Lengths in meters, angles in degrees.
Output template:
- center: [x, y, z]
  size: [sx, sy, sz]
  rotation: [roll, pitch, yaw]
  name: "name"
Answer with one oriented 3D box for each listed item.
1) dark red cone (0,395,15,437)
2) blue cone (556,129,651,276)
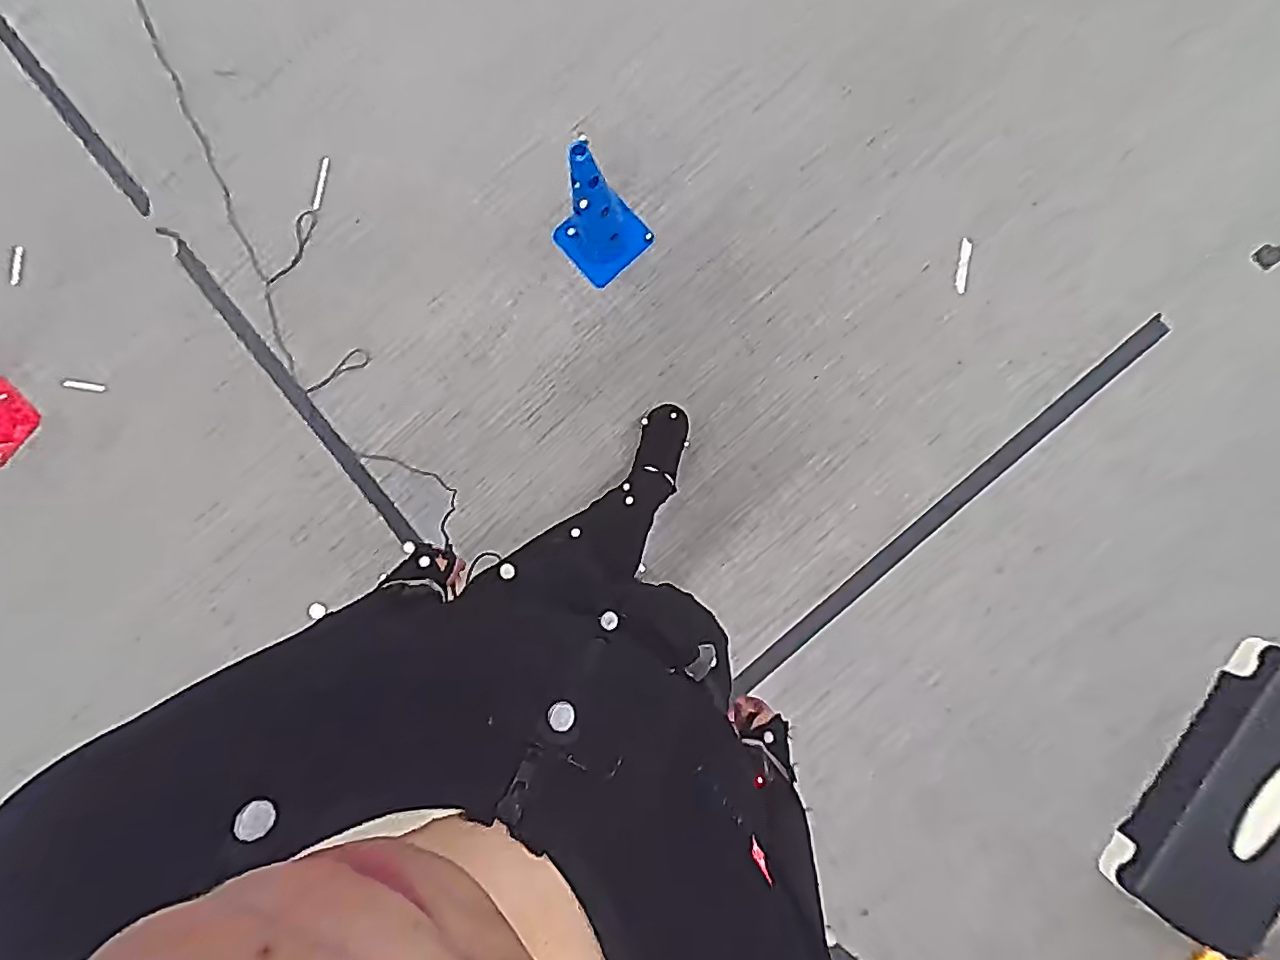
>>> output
- center: [-1.800, -0.168, 1.287]
  size: [0.202, 0.394, 0.201]
  rotation: [41, 91, 4]
  name: "dark red cone"
- center: [-0.105, -0.636, 1.206]
  size: [0.192, 0.380, 0.193]
  rotation: [-40, 87, 1]
  name: "blue cone"
